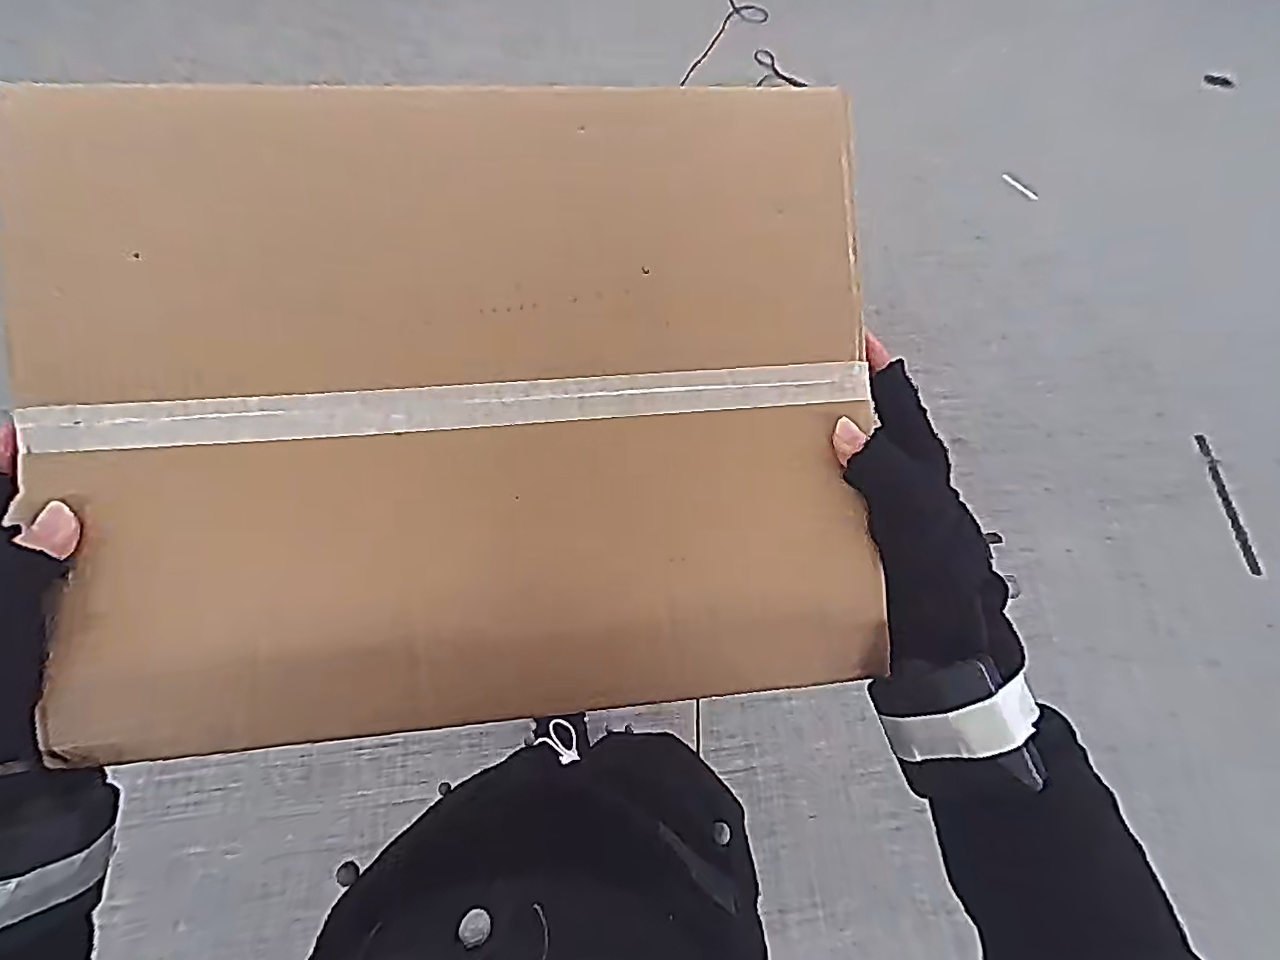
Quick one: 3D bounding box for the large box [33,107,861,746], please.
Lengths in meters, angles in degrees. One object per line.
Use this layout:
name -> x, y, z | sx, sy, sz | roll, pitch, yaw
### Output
large box -> -0.096, -0.039, 0.427 | 0.408, 0.320, 0.320 | -4, 90, -6
